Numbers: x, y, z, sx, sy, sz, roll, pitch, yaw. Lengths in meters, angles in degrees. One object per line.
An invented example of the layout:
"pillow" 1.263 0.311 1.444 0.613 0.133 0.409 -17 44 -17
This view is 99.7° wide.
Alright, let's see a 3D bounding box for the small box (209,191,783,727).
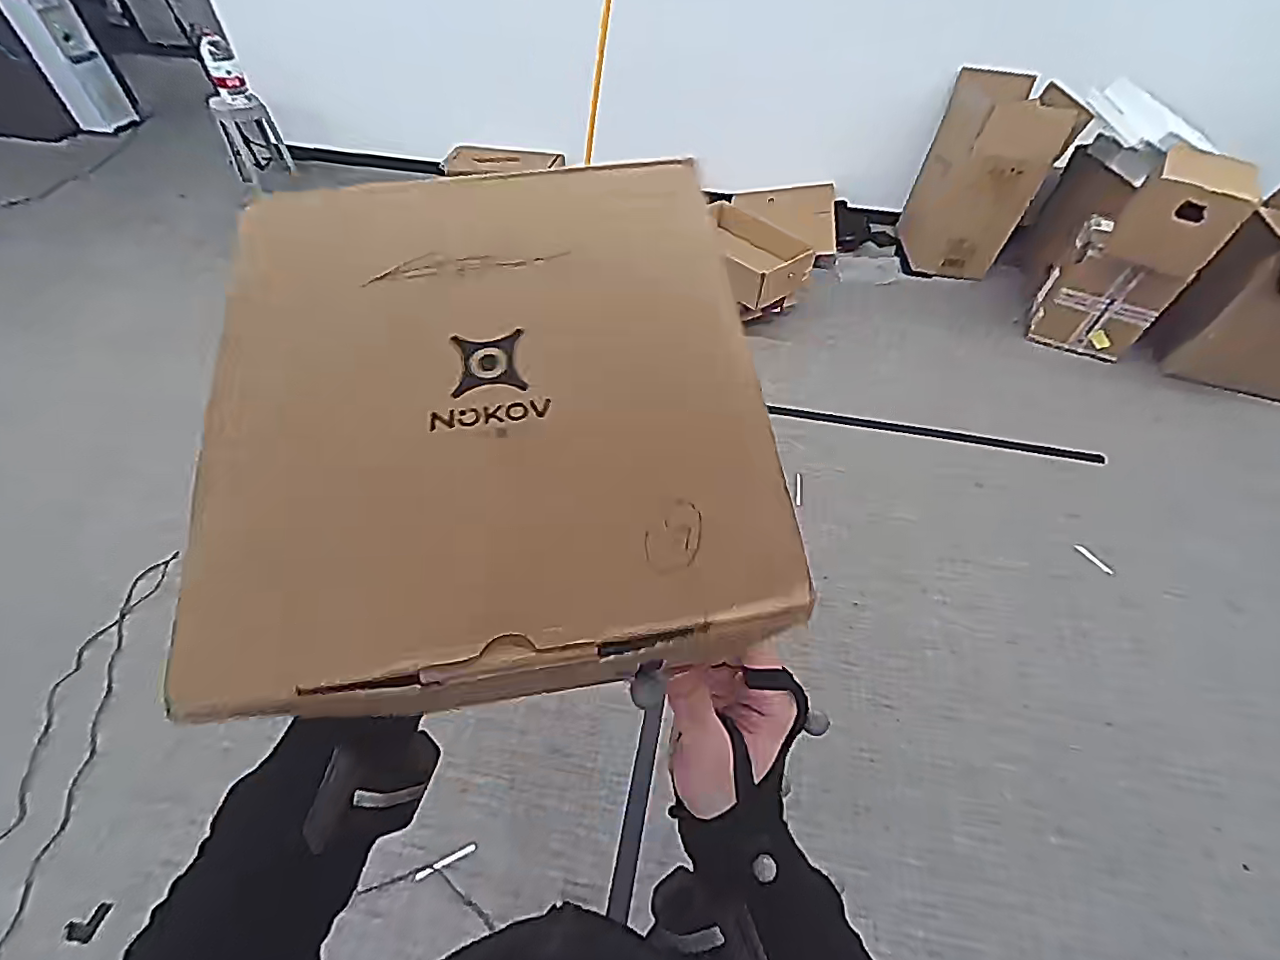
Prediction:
"small box" -0.052 0.005 0.256 0.168 0.176 0.179 -10 67 -5
